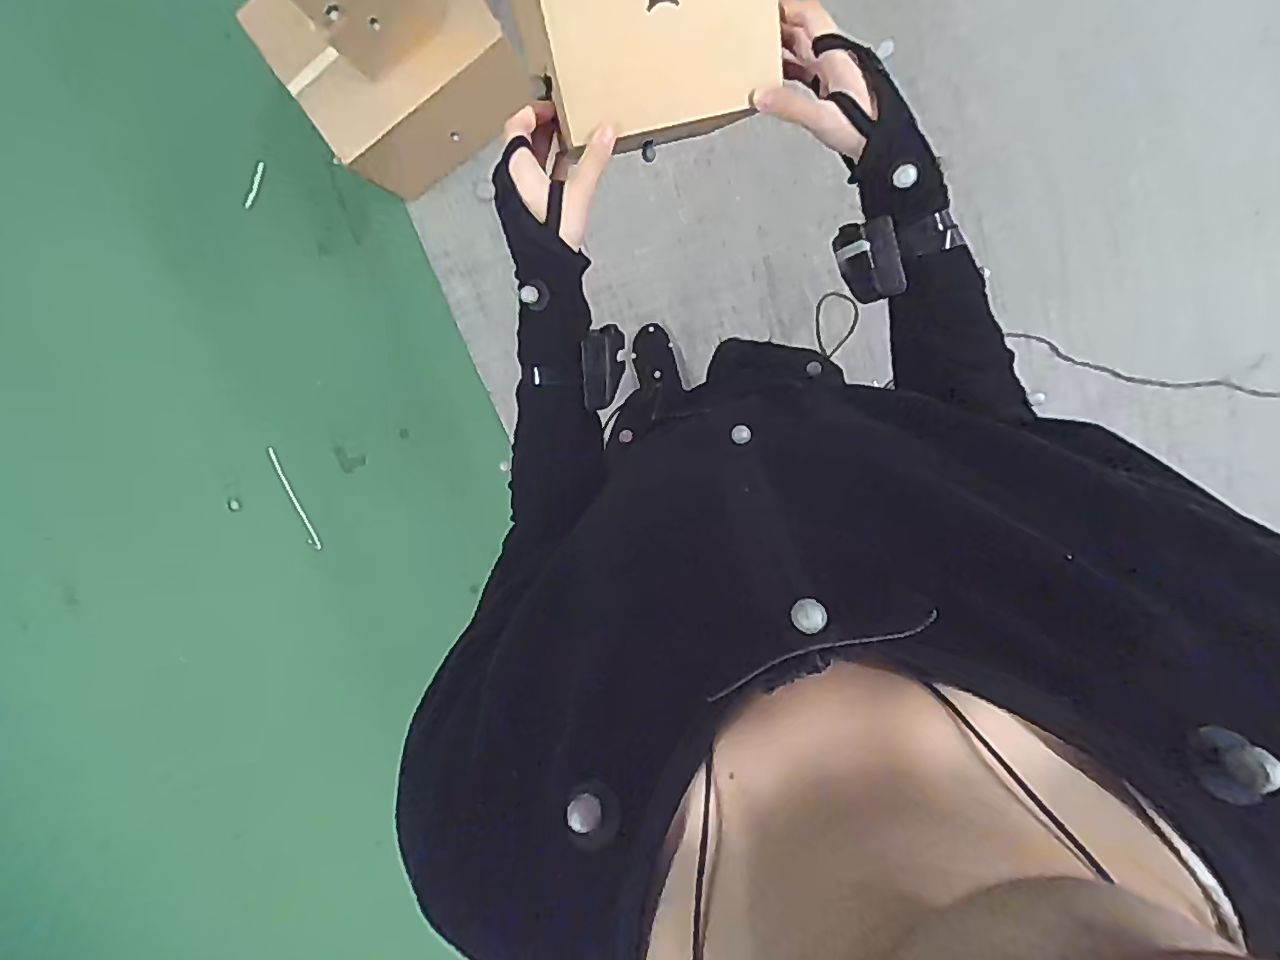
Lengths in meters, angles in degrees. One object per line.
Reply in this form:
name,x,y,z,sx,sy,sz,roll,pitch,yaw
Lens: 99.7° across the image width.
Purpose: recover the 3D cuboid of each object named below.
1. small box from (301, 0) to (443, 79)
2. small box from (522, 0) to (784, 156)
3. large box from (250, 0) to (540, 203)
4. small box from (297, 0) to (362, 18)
small box,-0.471,-0.836,0.916,0.179,0.176,0.168,-29,103,8
small box,-0.001,-0.371,0.426,0.168,0.176,0.179,-15,116,-7
large box,-0.487,-0.882,1.157,0.408,0.320,0.320,-33,100,11
small box,-0.468,-0.803,0.755,0.168,0.176,0.179,-28,103,8
